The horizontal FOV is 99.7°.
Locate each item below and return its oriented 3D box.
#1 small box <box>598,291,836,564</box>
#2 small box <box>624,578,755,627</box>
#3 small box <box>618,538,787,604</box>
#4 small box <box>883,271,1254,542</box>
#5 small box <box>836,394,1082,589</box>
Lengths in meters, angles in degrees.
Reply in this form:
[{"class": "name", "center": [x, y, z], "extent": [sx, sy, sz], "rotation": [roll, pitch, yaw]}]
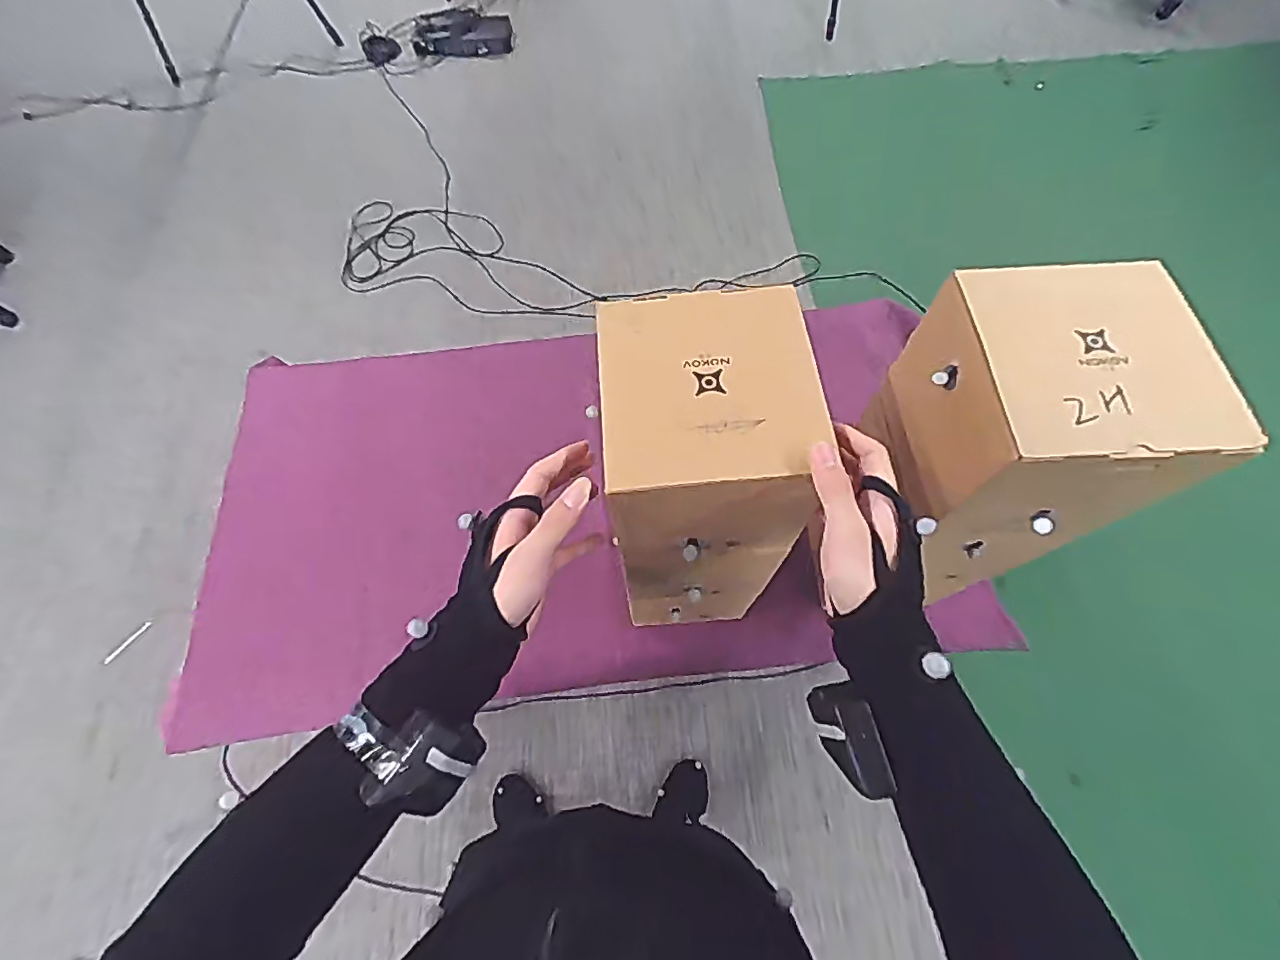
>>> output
[{"class": "small box", "center": [0.053, -0.038, 0.481], "extent": [0.168, 0.176, 0.179], "rotation": [-5, 64, 1]}, {"class": "small box", "center": [0.062, 0.108, 0.773], "extent": [0.168, 0.176, 0.179], "rotation": [-4, 63, 0]}, {"class": "small box", "center": [0.058, 0.035, 0.626], "extent": [0.168, 0.176, 0.179], "rotation": [-4, 64, 0]}, {"class": "small box", "center": [0.336, -0.055, 0.475], "extent": [0.168, 0.176, 0.179], "rotation": [-2, 65, 2]}, {"class": "small box", "center": [0.340, 0.017, 0.623], "extent": [0.168, 0.176, 0.179], "rotation": [-2, 64, 2]}]
